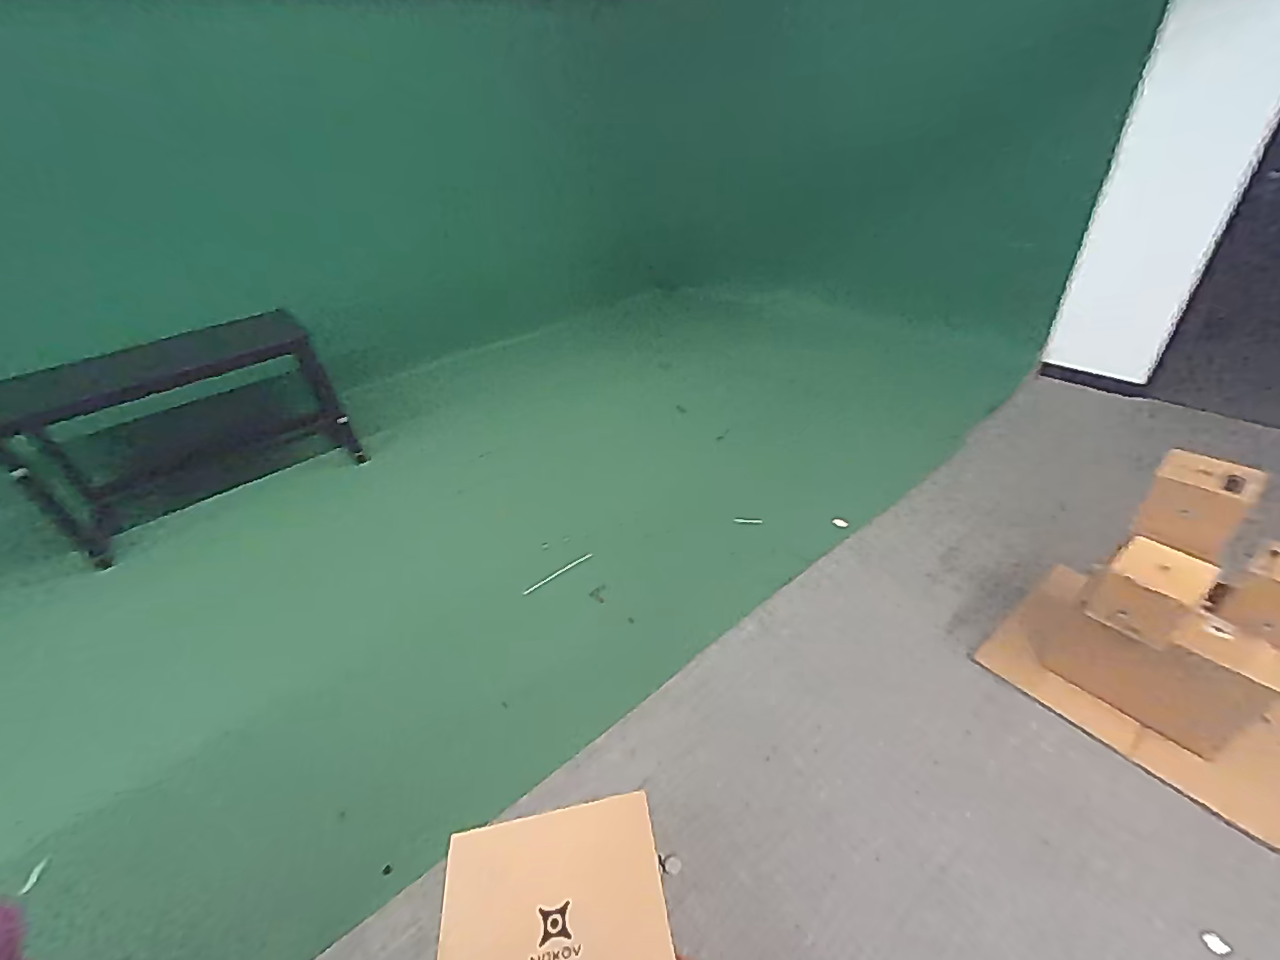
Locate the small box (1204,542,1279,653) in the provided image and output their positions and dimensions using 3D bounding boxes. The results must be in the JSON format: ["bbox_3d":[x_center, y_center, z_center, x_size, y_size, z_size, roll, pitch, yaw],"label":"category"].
[{"bbox_3d":[1.534,0.288,1.300,0.168,0.176,0.179,-26,38,-24],"label":"small box"}]

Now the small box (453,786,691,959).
[{"bbox_3d":[-0.043,0.386,0.428,0.168,0.176,0.179,-10,34,-4],"label":"small box"}]

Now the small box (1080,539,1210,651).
[{"bbox_3d":[1.251,0.285,1.352,0.179,0.176,0.168,-29,42,-26],"label":"small box"}]
